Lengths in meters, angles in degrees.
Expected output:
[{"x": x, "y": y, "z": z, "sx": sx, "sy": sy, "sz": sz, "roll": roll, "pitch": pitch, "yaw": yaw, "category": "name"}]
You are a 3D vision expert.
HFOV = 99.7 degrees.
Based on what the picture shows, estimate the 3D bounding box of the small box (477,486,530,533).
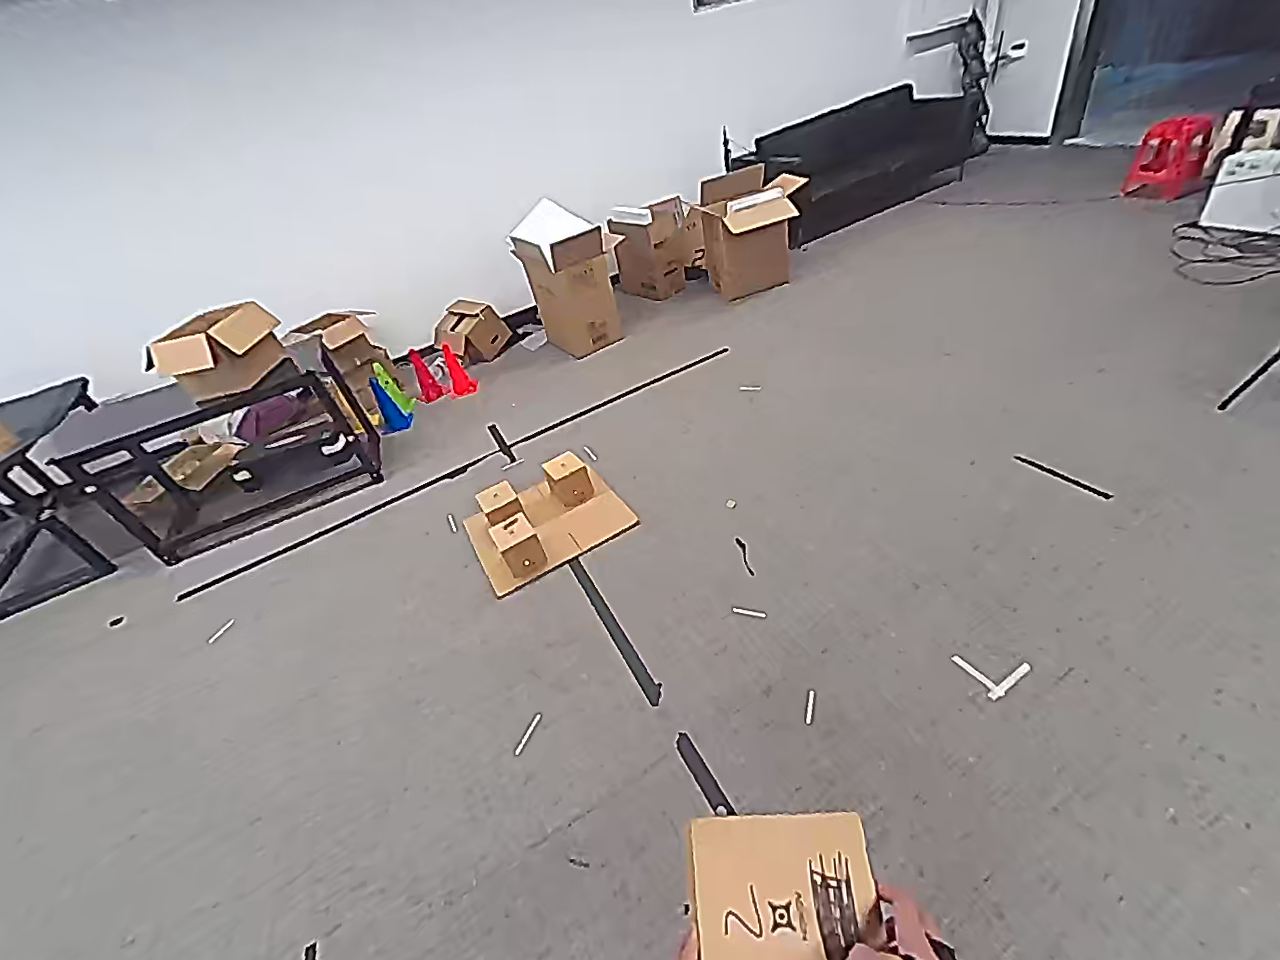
[{"x": -0.647, "y": 0.165, "z": 2.563, "sx": 0.168, "sy": 0.176, "sz": 0.179, "roll": -28, "pitch": 40, "yaw": -16, "category": "small box"}]

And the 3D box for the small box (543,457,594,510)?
[{"x": -0.352, "y": 0.019, "z": 2.662, "sx": 0.168, "sy": 0.176, "sz": 0.179, "roll": -30, "pitch": 40, "yaw": -19, "category": "small box"}]

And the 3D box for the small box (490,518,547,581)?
[{"x": -0.525, "y": 0.304, "z": 2.346, "sx": 0.168, "sy": 0.176, "sz": 0.179, "roll": -29, "pitch": 40, "yaw": -17, "category": "small box"}]
